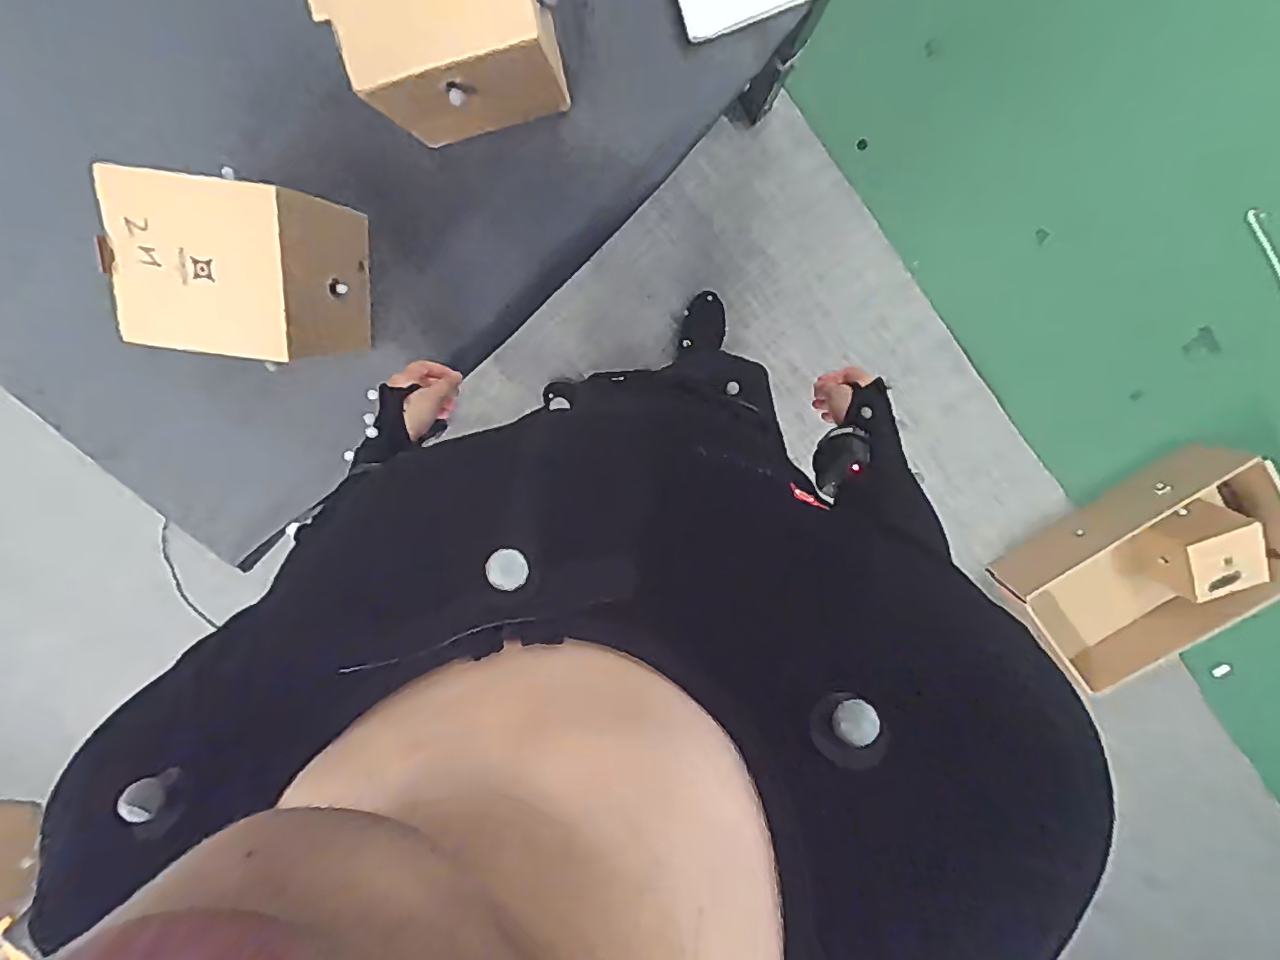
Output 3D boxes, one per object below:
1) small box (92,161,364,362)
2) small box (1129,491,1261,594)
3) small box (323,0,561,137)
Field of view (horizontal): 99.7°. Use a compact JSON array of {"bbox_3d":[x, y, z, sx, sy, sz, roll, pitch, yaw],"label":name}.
[{"bbox_3d":[-0.429,-0.233,0.601,0.179,0.176,0.168,7,108,0],"label":"small box"},{"bbox_3d":[1.418,0.156,1.391,0.168,0.176,0.179,-24,107,10],"label":"small box"},{"bbox_3d":[-0.182,-0.458,0.516,0.179,0.176,0.168,-11,108,7],"label":"small box"}]
